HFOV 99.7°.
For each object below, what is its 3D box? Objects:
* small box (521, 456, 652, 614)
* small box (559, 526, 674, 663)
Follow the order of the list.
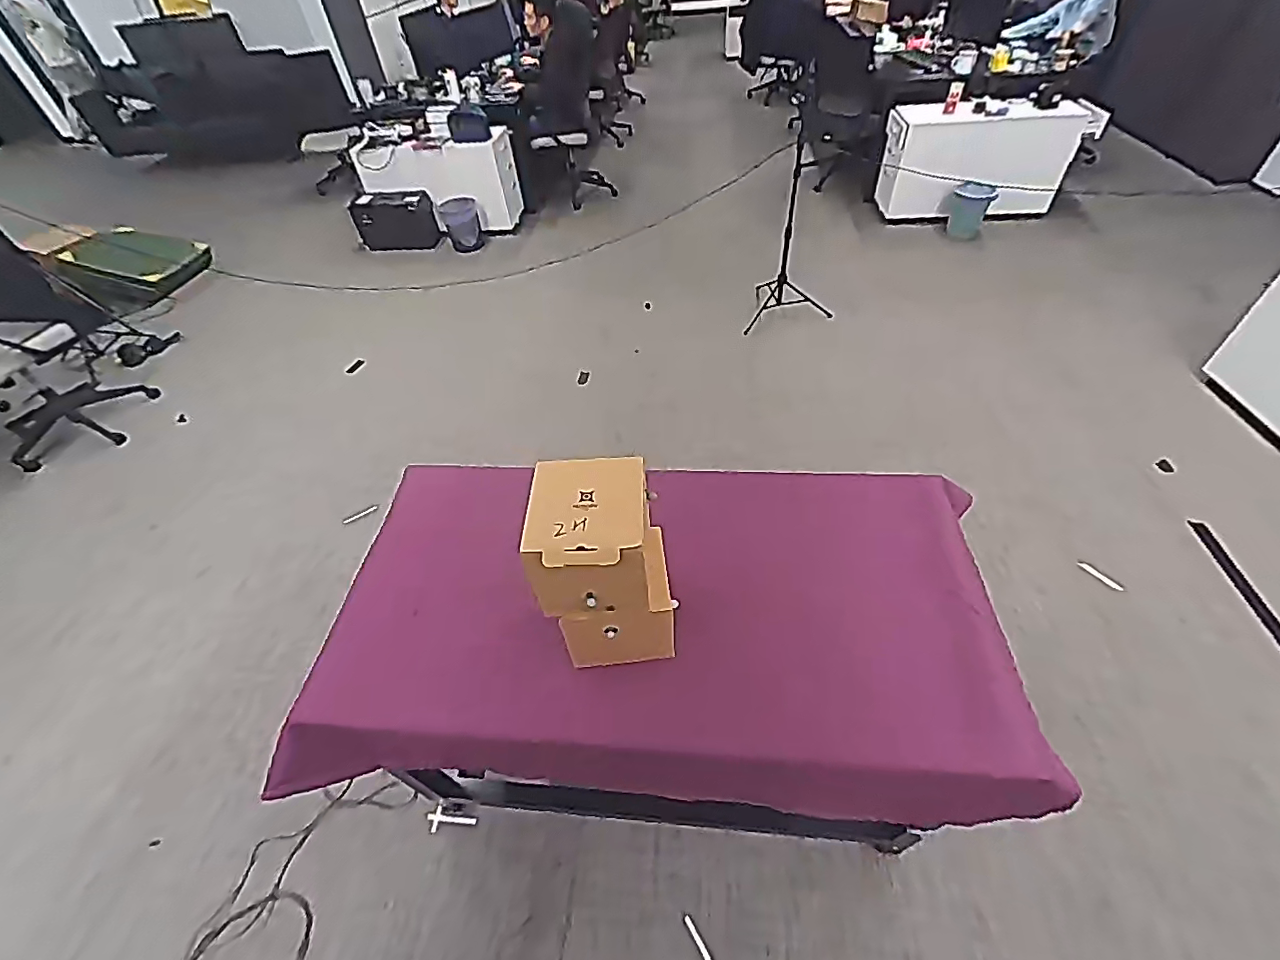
[{"bbox_3d":[-0.070,0.084,0.820,0.168,0.176,0.179,-3,47,4],"label":"small box"},{"bbox_3d":[-0.038,0.201,0.933,0.179,0.176,0.168,-6,47,-1],"label":"small box"}]
